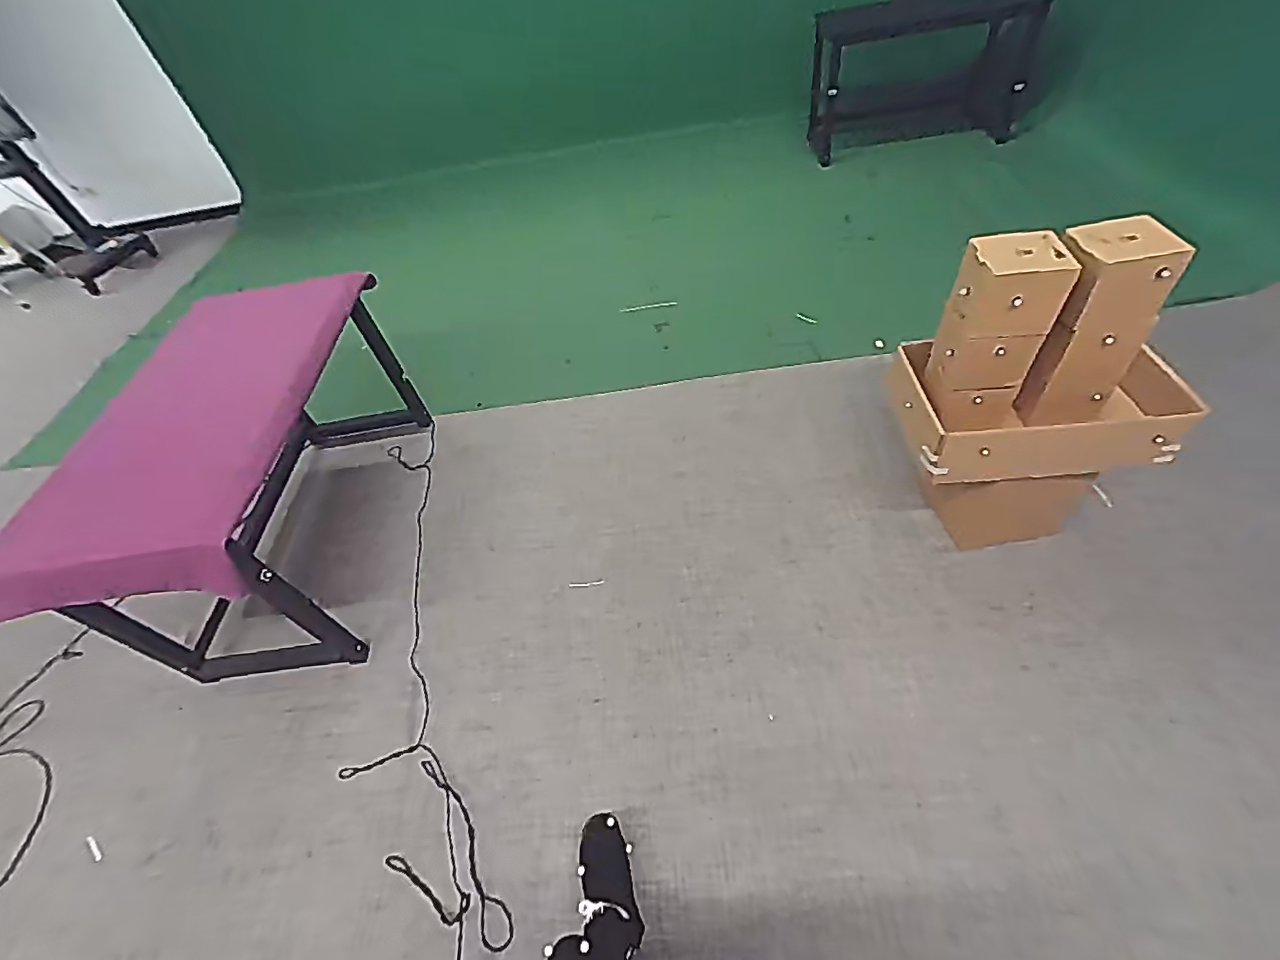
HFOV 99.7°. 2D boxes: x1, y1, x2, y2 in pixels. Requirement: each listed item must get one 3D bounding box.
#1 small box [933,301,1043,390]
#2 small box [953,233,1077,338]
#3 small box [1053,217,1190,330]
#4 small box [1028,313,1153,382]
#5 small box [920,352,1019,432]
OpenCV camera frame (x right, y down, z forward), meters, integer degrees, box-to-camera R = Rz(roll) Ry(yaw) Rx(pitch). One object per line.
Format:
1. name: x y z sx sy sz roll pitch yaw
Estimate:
1. small box: 0.877 -0.347 1.388 0.179 0.176 0.168 -2 51 8
2. small box: 0.855 -0.448 1.261 0.179 0.176 0.168 -2 51 9
3. small box: 1.074 -0.471 1.244 0.179 0.176 0.168 -8 49 8
4. small box: 1.116 -0.369 1.367 0.179 0.176 0.168 -6 51 9
5. small box: 0.907 -0.250 1.515 0.179 0.176 0.168 -4 50 6
